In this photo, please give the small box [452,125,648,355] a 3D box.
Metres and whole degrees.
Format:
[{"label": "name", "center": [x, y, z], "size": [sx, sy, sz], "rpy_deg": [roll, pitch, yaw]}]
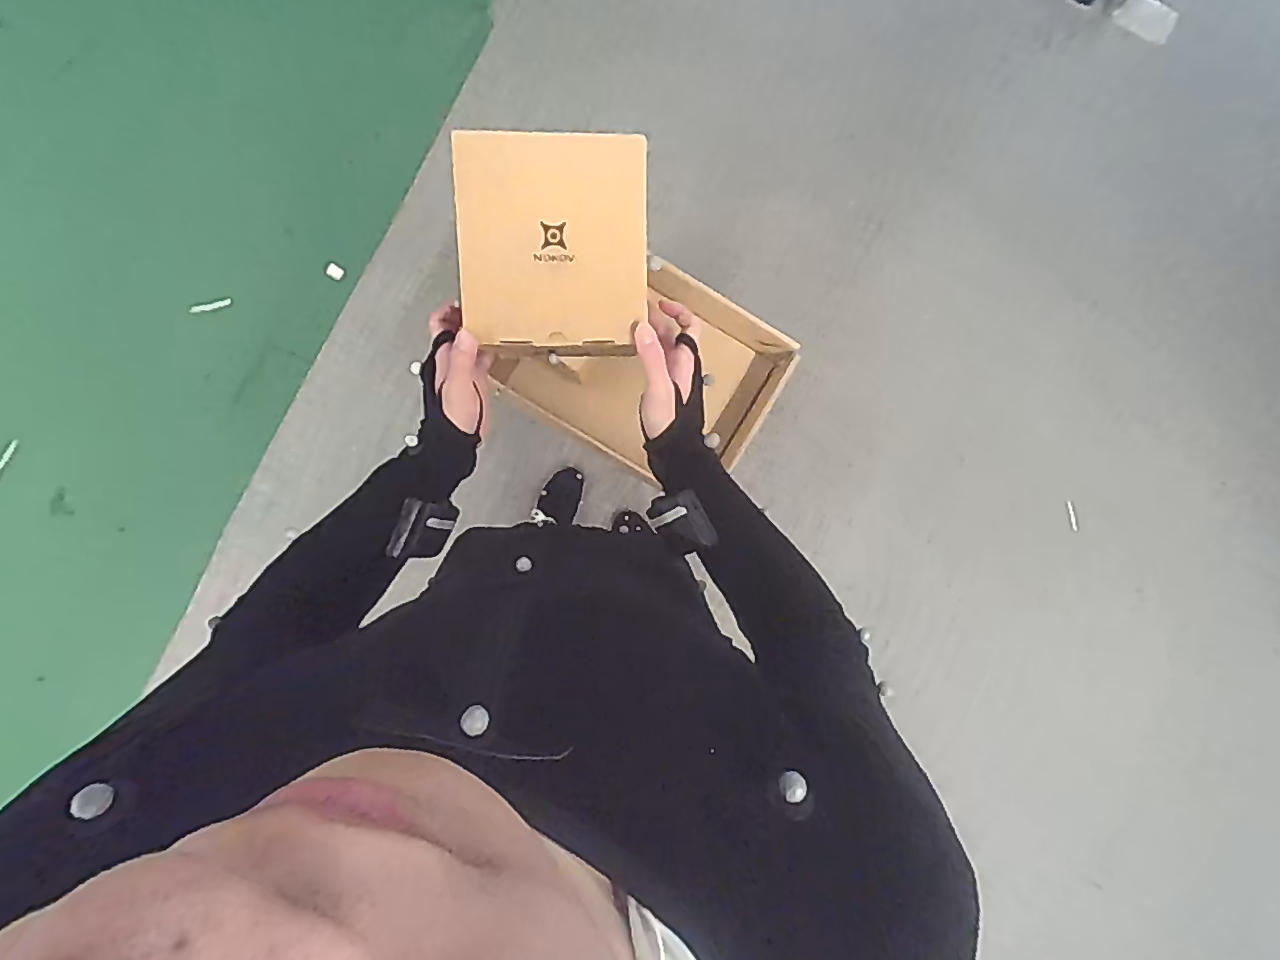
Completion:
[{"label": "small box", "center": [-0.084, -0.221, 0.543], "size": [0.168, 0.176, 0.179], "rpy_deg": [-2, 101, -6]}]
